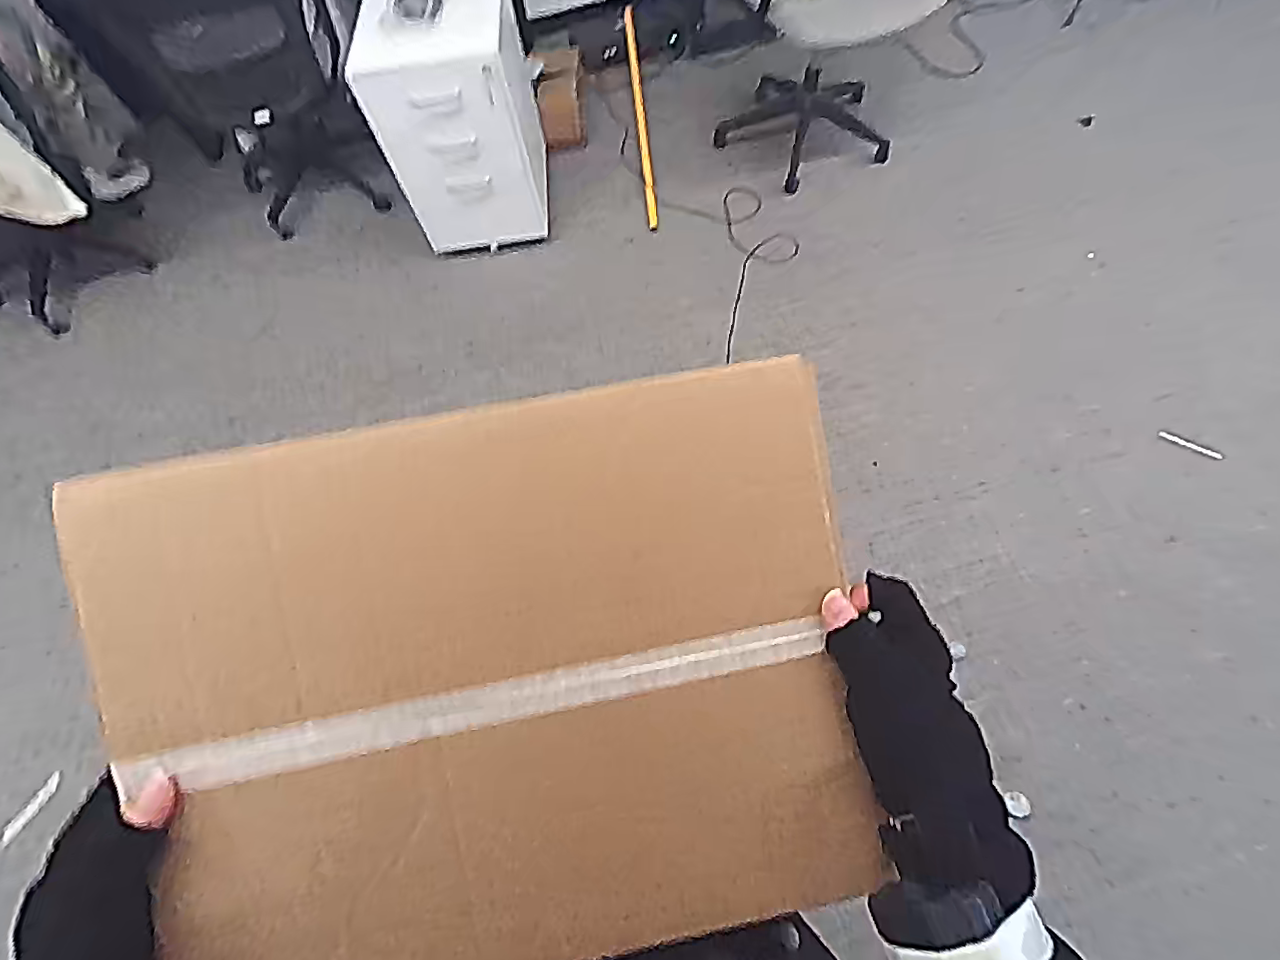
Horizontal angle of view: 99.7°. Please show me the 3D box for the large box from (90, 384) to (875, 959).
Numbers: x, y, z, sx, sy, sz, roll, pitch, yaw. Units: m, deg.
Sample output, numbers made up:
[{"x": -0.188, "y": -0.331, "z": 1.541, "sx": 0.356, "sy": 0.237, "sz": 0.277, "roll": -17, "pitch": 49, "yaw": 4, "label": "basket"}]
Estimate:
[{"x": -0.087, "y": 0.127, "z": 0.460, "sx": 0.408, "sy": 0.320, "sz": 0.320, "roll": -11, "pitch": 91, "yaw": -3, "label": "large box"}]
